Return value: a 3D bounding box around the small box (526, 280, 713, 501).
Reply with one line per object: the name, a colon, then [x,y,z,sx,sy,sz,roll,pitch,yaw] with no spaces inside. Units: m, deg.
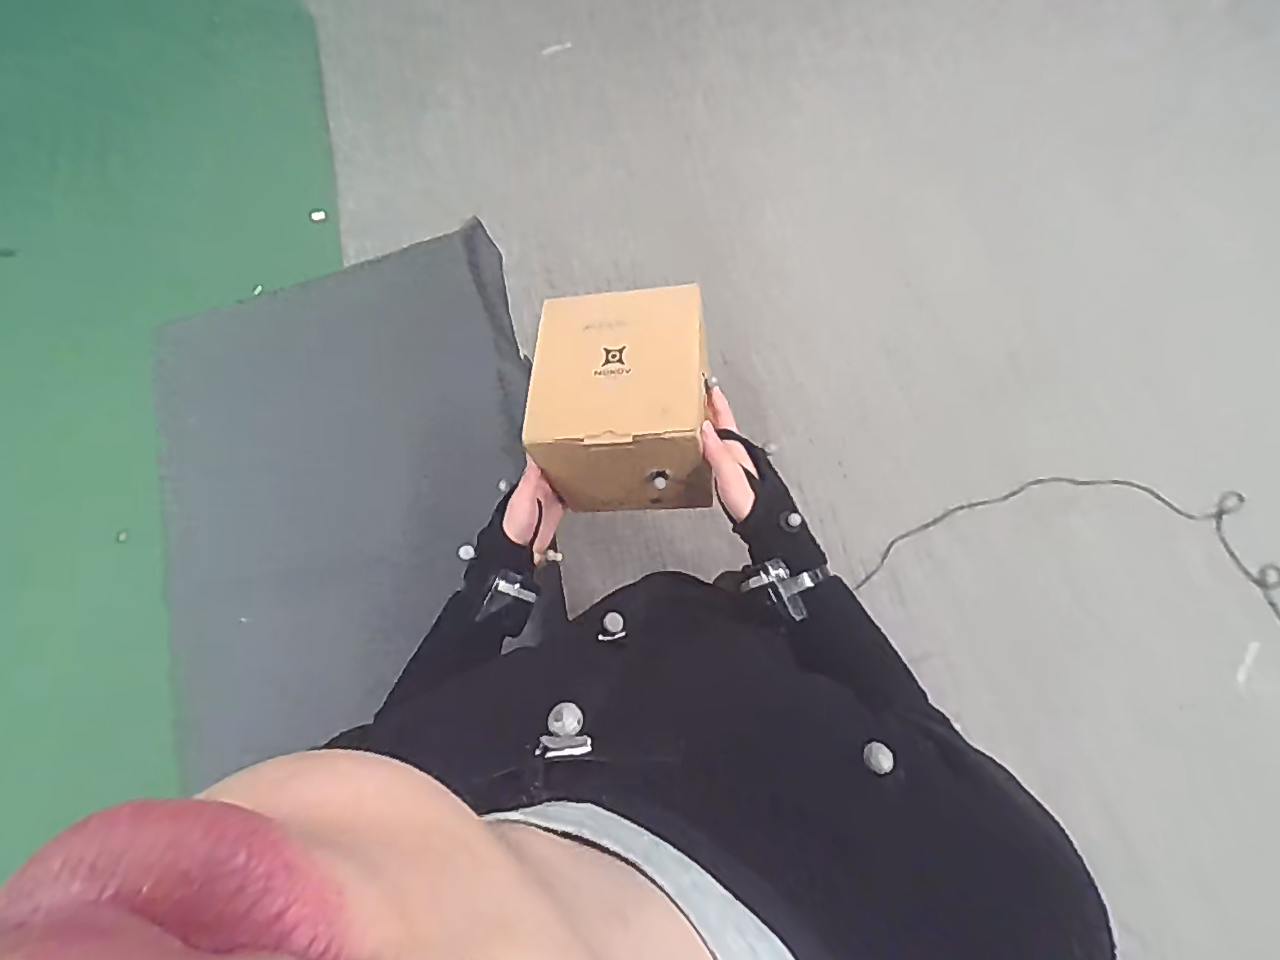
small box: [-0.008,-0.084,0.585,0.168,0.176,0.179,-2,63,9]
